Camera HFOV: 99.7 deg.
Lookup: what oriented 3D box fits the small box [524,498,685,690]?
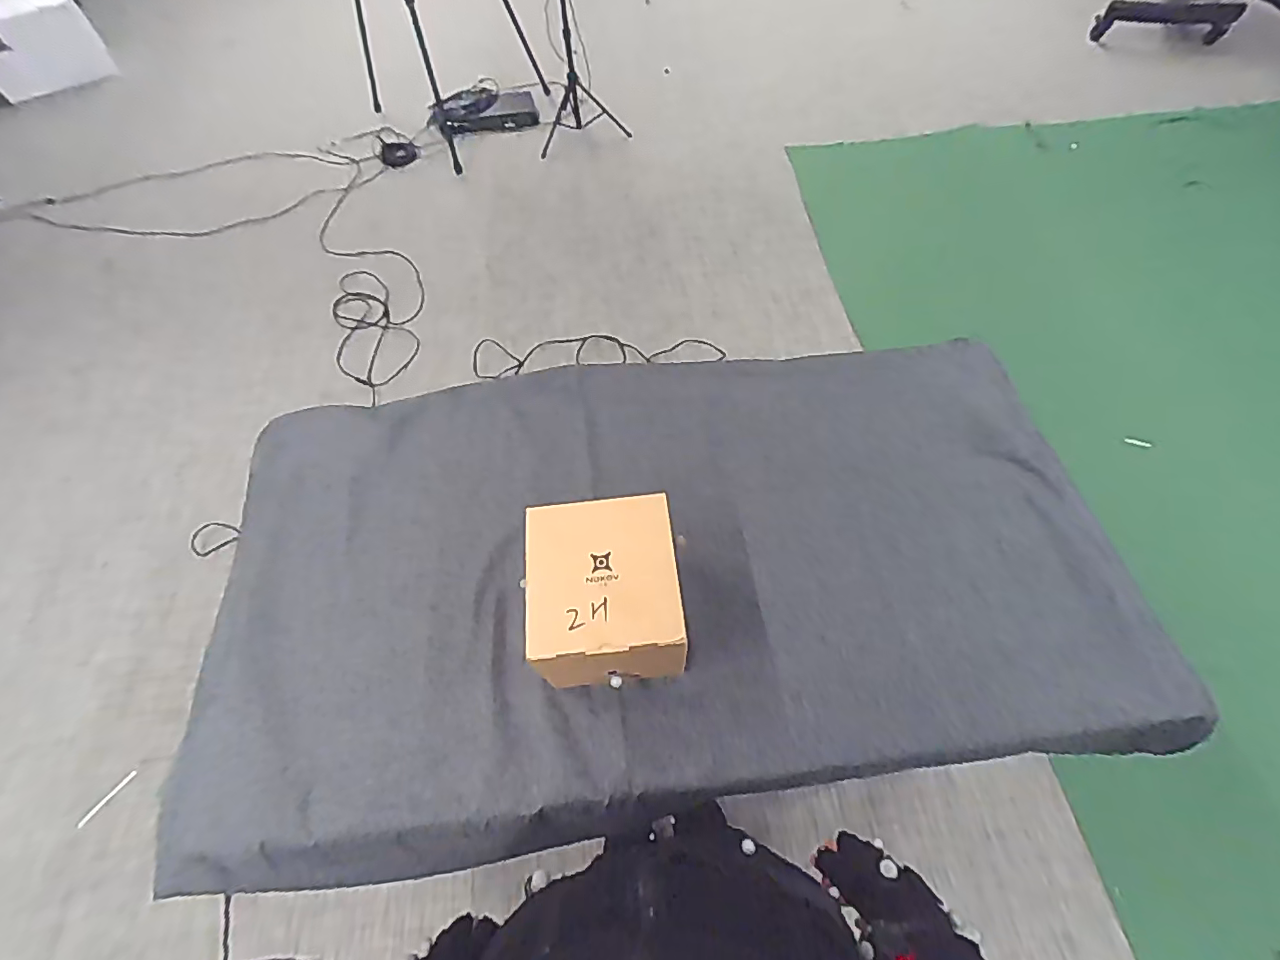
[{"bbox_3d":[-0.040,0.142,0.654,0.168,0.176,0.179,-6,60,-1],"label":"small box"}]
